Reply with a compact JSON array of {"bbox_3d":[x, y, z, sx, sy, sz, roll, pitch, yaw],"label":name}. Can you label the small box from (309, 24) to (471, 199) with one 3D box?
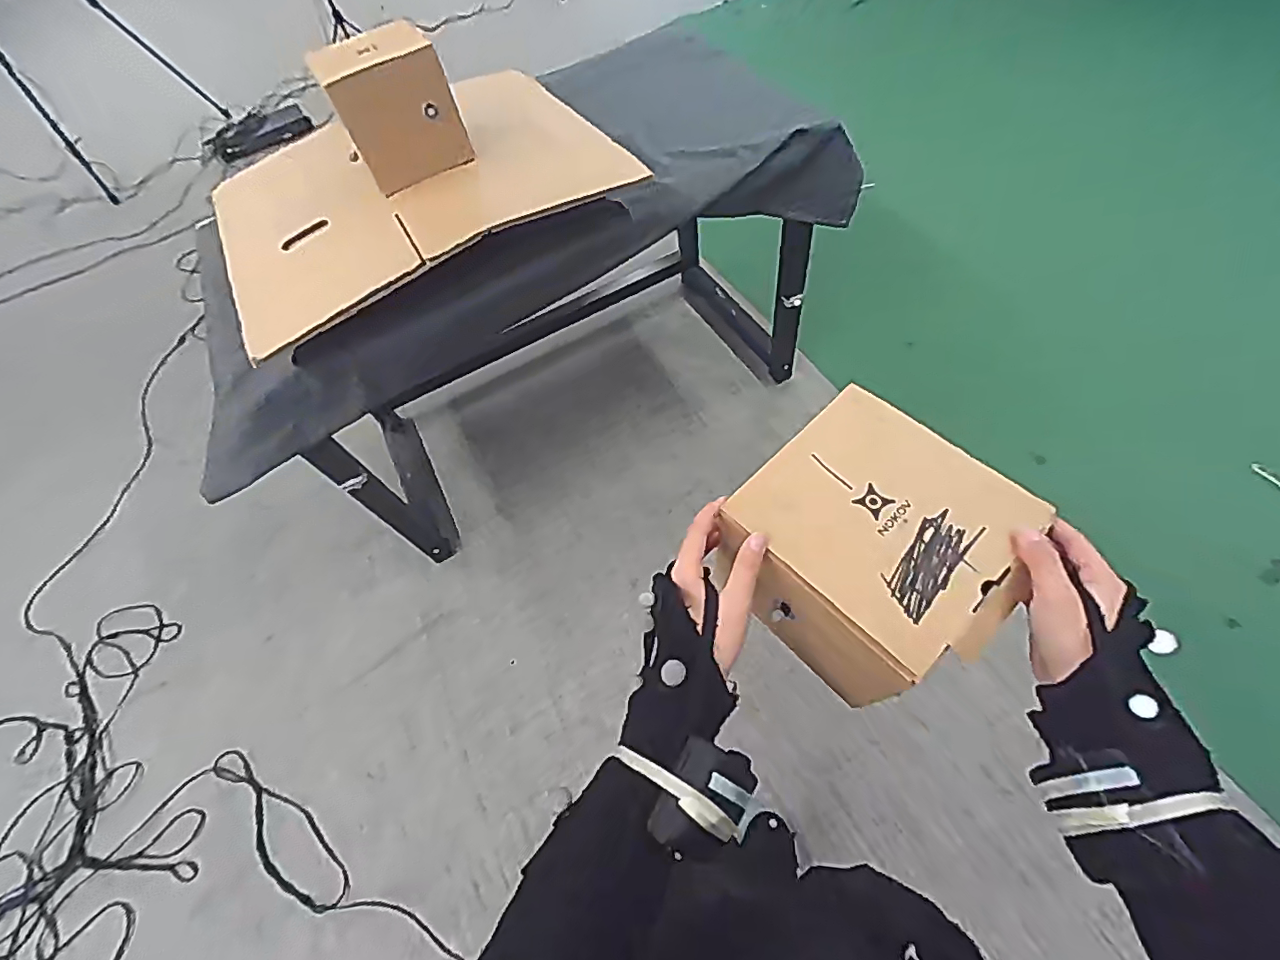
[{"bbox_3d":[-0.404,-0.609,0.900,0.179,0.176,0.168,-31,57,-10],"label":"small box"}]
